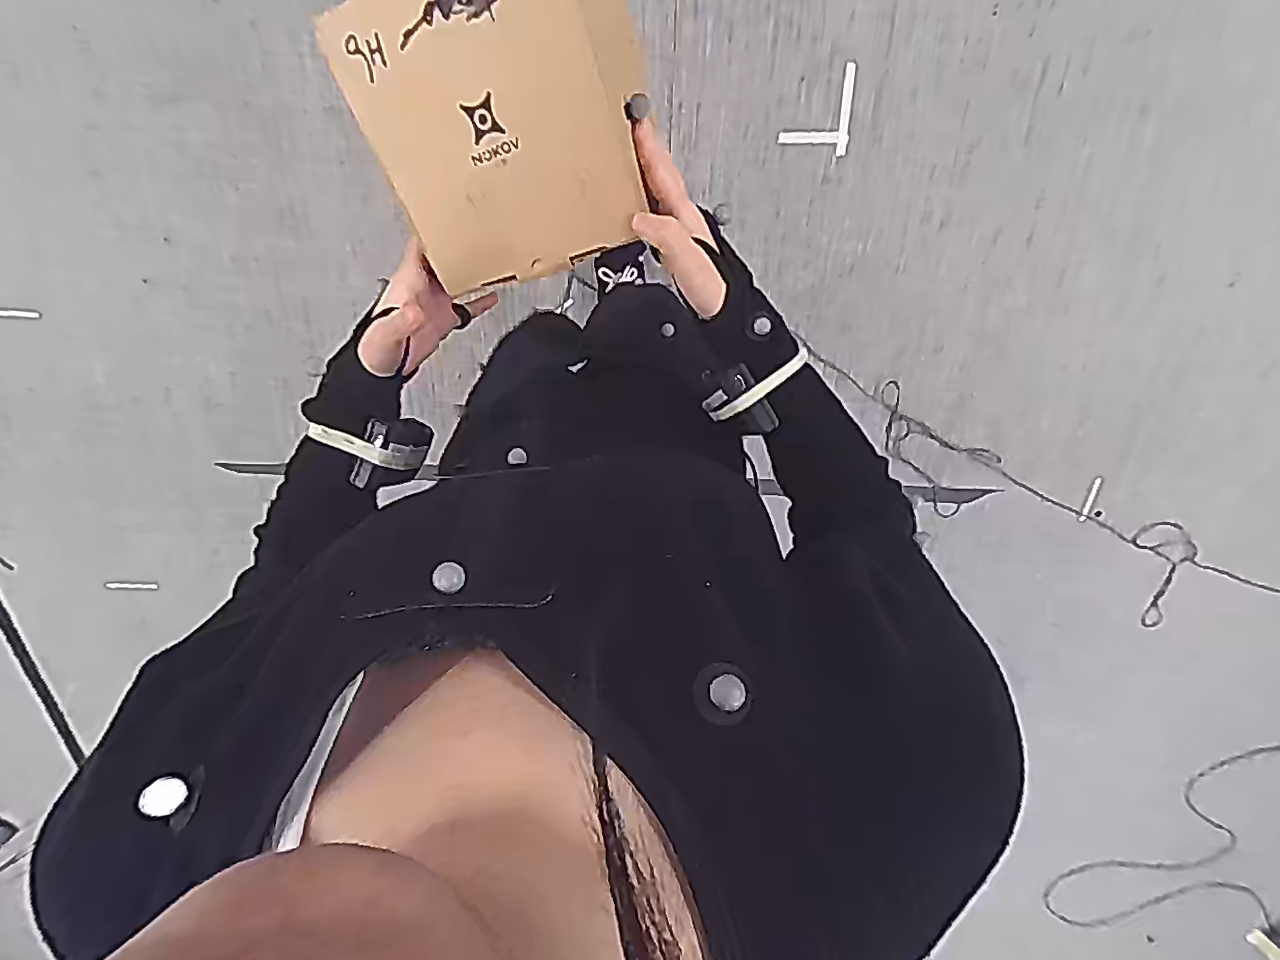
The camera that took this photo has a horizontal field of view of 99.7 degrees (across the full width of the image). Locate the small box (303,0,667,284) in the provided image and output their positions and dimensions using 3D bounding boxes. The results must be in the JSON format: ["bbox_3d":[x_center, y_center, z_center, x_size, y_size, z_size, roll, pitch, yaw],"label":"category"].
[{"bbox_3d":[-0.084,-0.275,0.400,0.168,0.176,0.179,-11,123,17],"label":"small box"}]
